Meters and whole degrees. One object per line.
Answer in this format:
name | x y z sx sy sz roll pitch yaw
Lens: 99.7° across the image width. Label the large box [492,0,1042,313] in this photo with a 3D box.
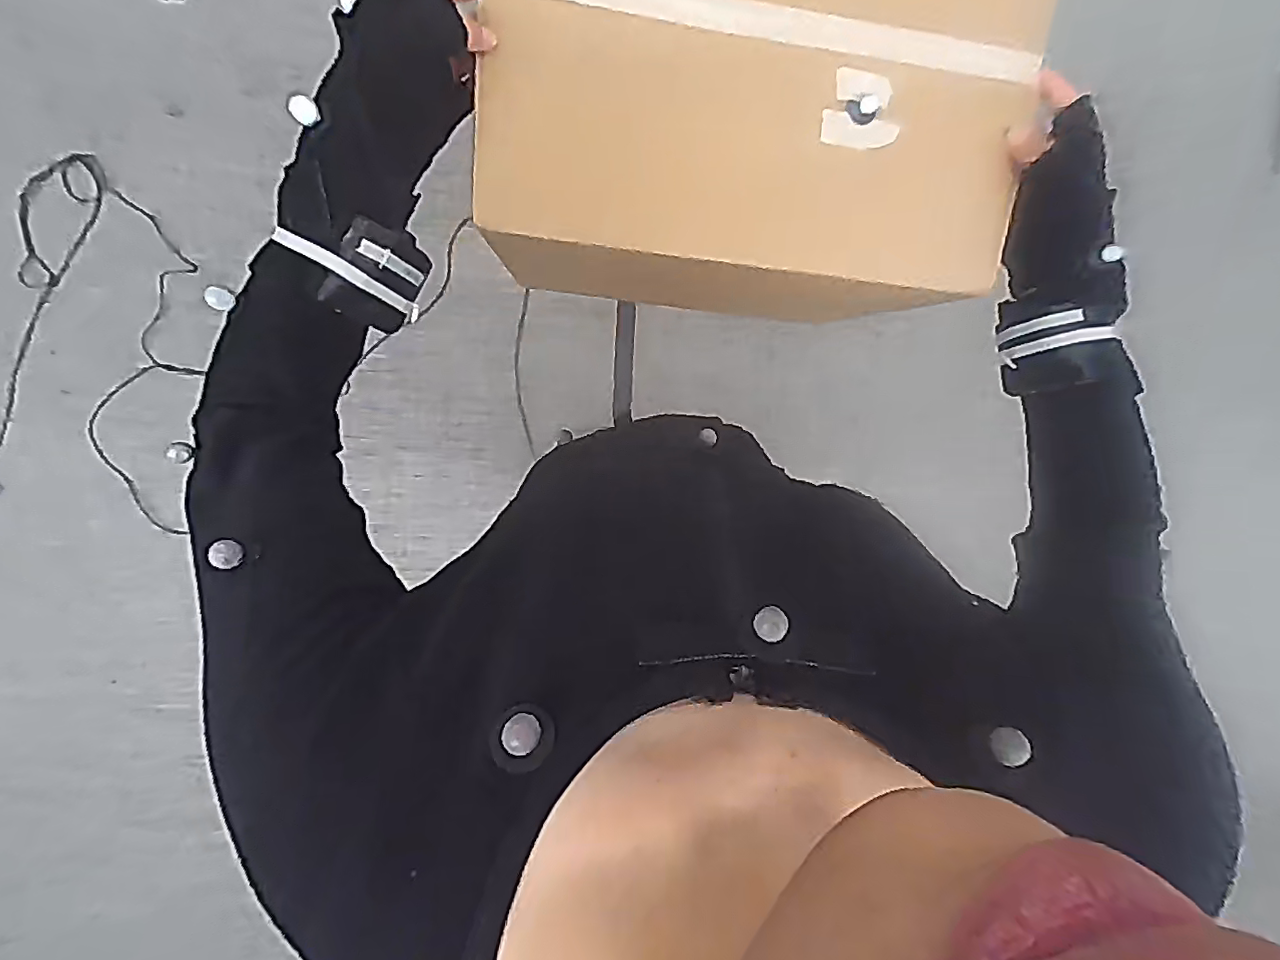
large box | 0.079 -0.354 0.533 0.408 0.320 0.320 4 102 -8
